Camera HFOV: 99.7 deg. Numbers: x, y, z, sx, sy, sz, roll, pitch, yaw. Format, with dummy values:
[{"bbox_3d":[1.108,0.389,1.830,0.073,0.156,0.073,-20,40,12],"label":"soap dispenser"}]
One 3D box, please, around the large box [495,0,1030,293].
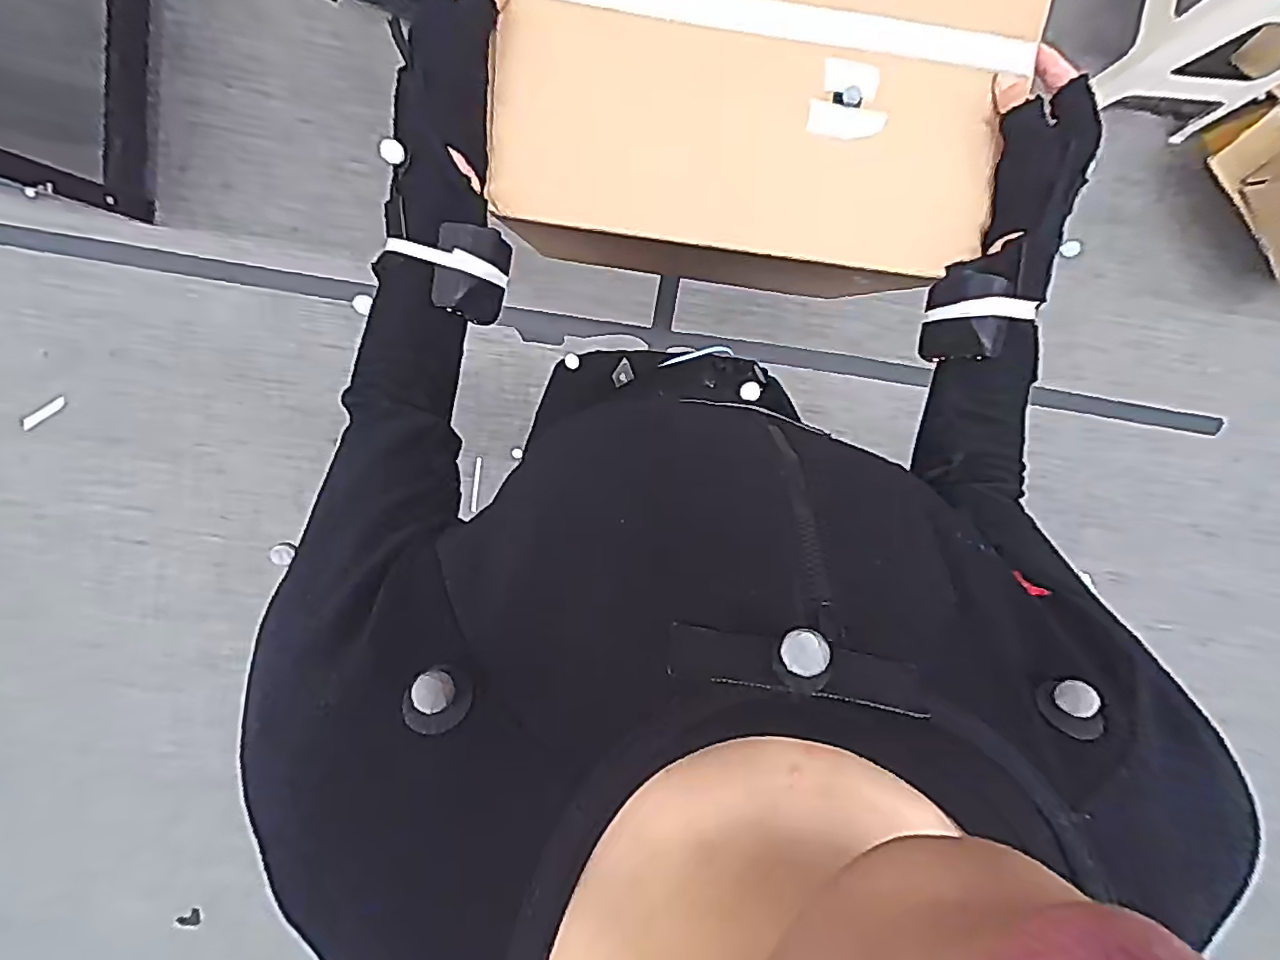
[{"bbox_3d":[0.087,-0.383,0.556,0.408,0.320,0.320,7,107,-4],"label":"large box"}]
